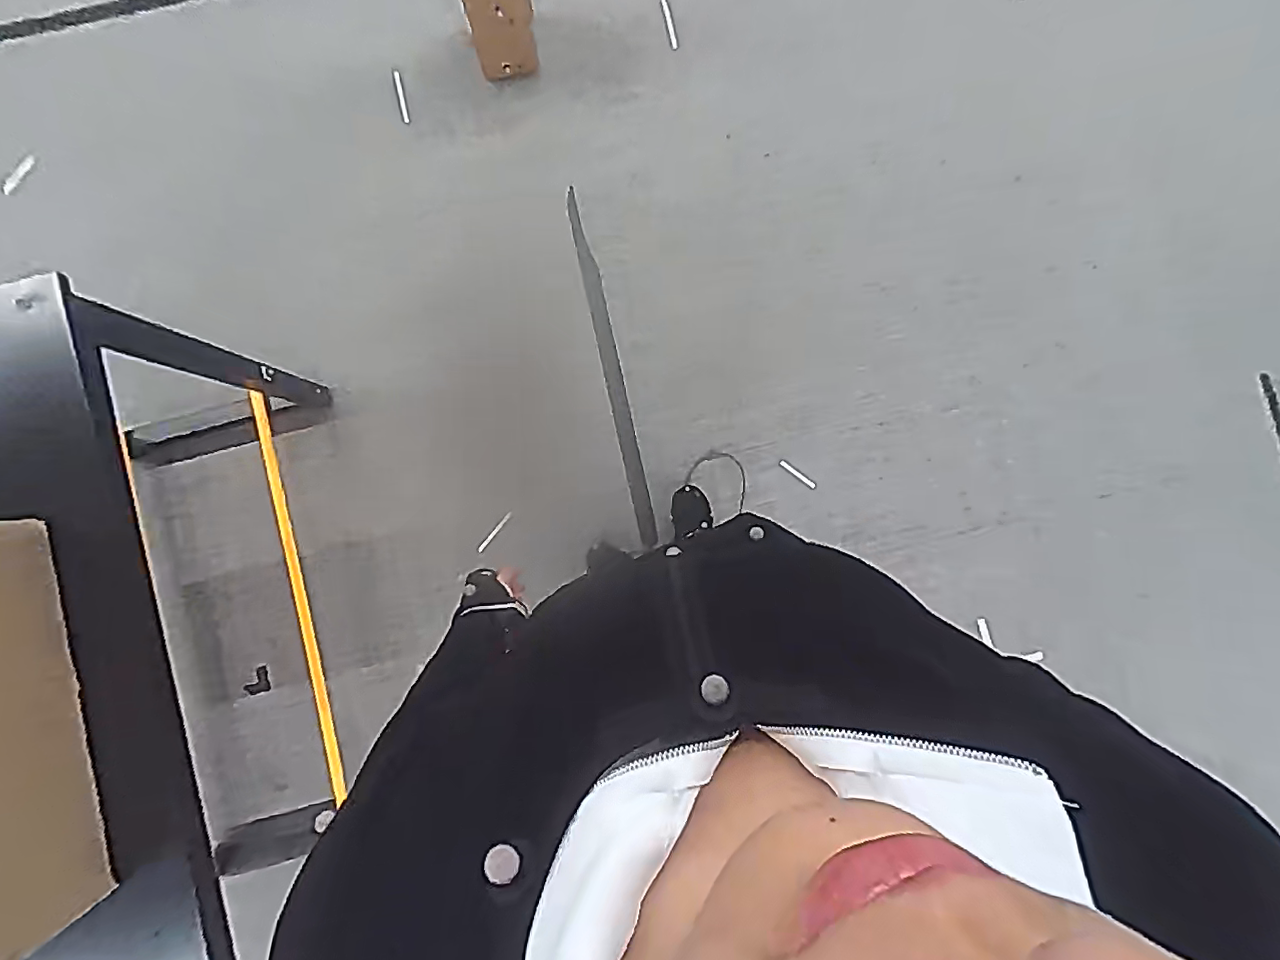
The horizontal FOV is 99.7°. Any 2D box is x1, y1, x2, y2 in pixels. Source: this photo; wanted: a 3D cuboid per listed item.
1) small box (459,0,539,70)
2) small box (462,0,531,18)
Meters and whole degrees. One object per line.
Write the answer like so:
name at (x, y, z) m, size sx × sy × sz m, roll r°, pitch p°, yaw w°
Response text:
small box at (-0.369, -1.211, 1.386) m, size 0.168 × 0.176 × 0.179 m, roll -14°, pitch 90°, yaw -1°
small box at (-0.355, -1.210, 1.221) m, size 0.168 × 0.176 × 0.179 m, roll -14°, pitch 88°, yaw -1°
